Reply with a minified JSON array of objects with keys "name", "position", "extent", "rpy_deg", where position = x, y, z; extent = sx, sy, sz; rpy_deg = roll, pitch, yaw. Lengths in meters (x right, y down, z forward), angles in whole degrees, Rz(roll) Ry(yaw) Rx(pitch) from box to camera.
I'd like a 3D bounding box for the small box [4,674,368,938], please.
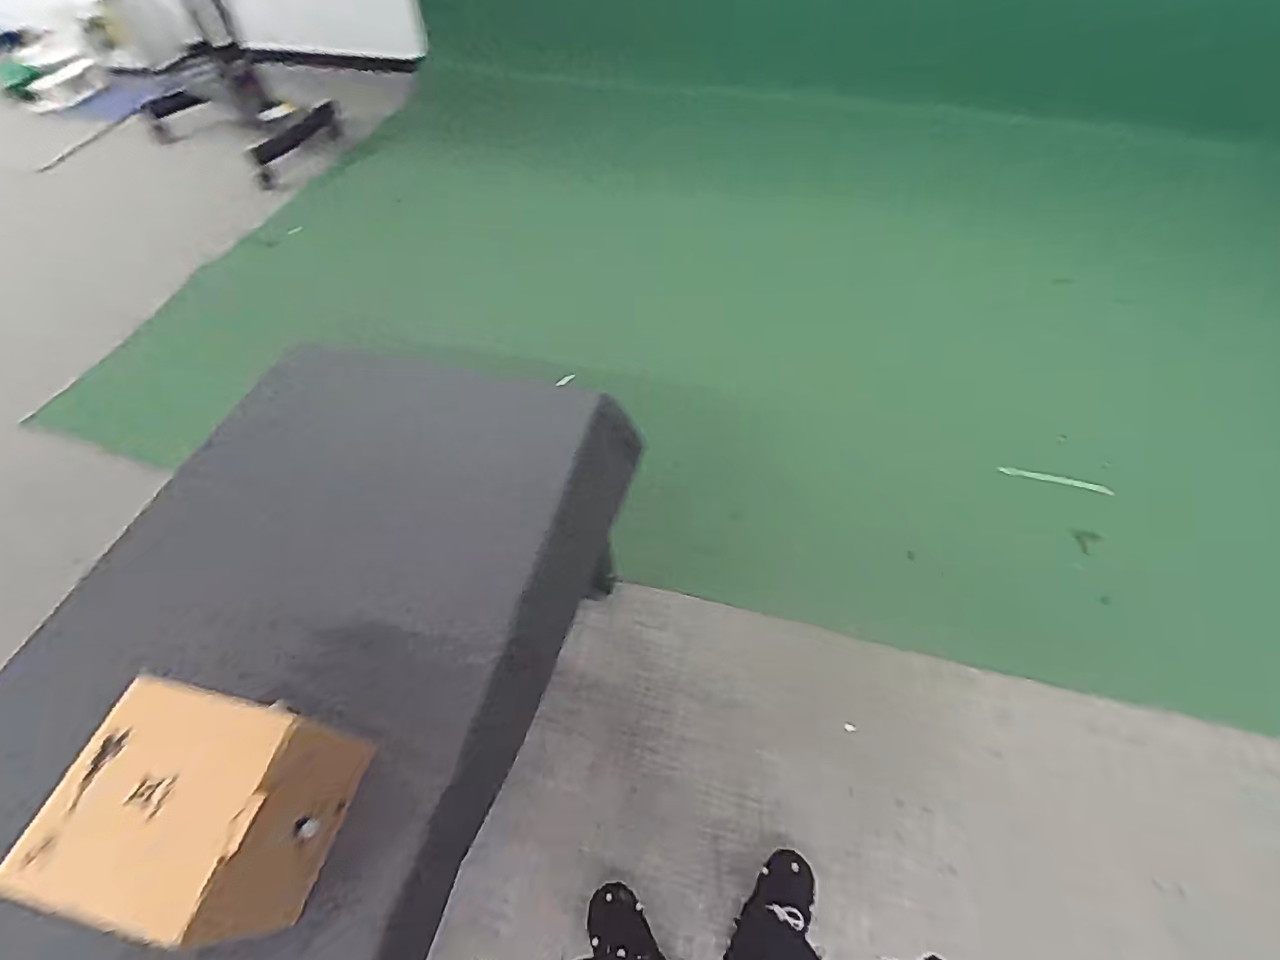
[{"name":"small box","position":[-0.408,0.310,0.531],"extent":[0.179,0.176,0.168],"rpy_deg":[10,58,8]}]
